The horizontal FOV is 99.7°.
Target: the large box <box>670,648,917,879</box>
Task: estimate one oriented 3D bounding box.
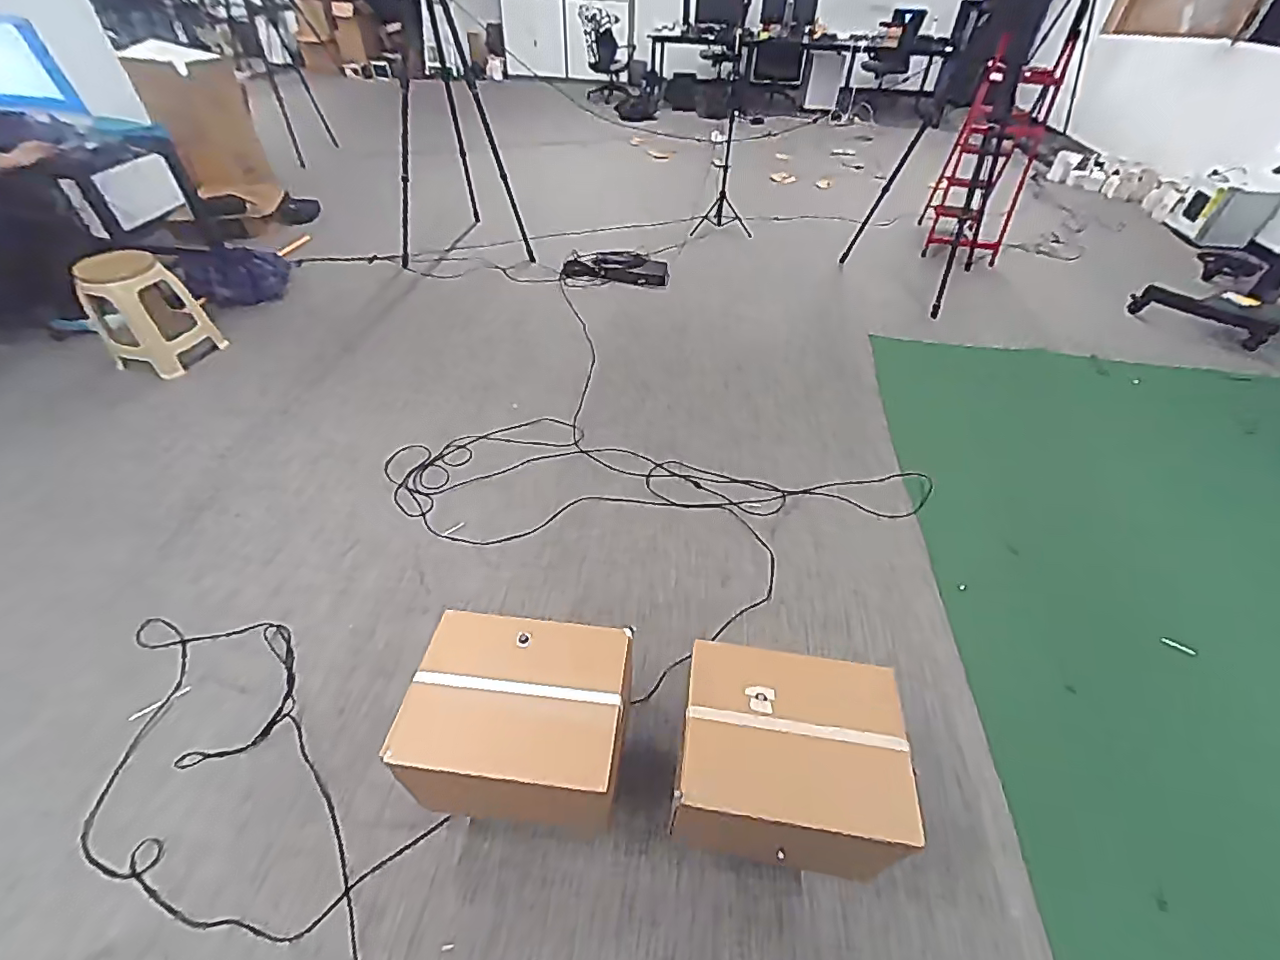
[{"bbox_3d":[0.284,0.585,1.118,0.408,0.320,0.320,7,44,6],"label":"large box"}]
